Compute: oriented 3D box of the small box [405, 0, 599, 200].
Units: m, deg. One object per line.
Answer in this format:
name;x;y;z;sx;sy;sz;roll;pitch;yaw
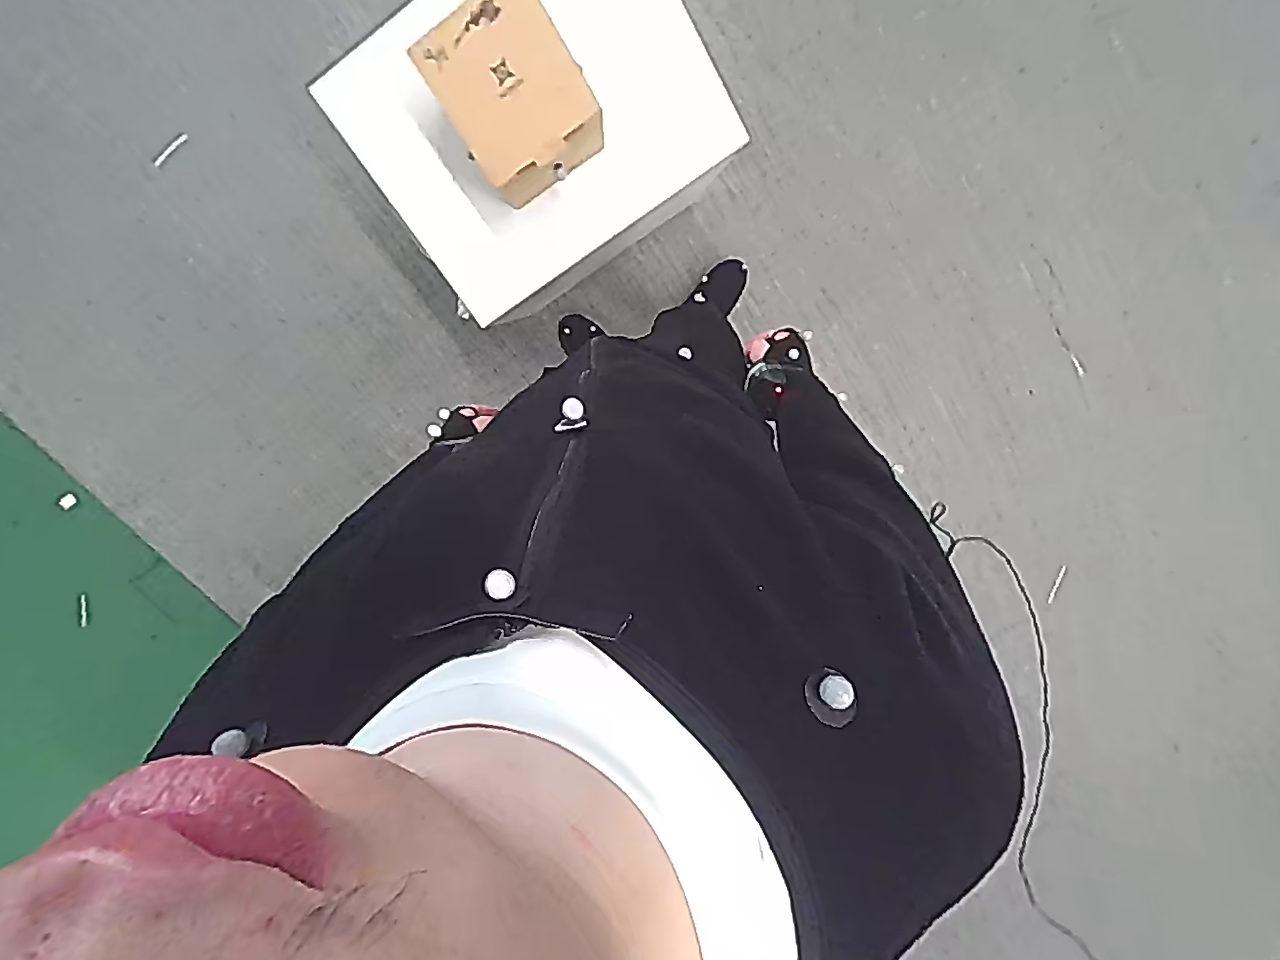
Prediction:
small box;-0.166;-0.501;0.722;0.168;0.176;0.179;-34;107;9
